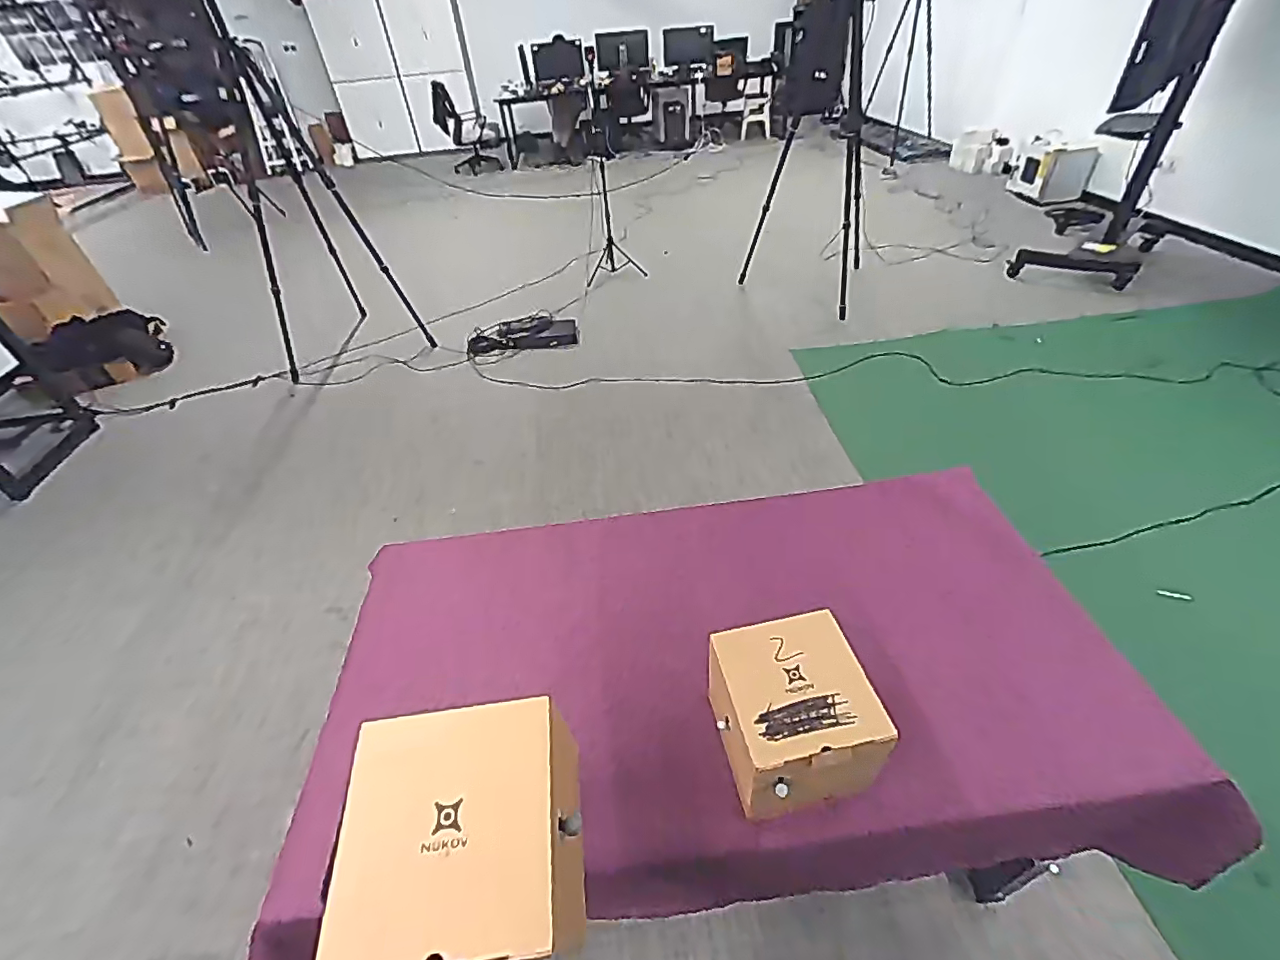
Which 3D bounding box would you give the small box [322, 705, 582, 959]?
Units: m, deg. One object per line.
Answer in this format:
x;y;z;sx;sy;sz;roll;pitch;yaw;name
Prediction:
-0.145;0.326;0.486;0.168;0.176;0.179;-7;51;-2;small box
